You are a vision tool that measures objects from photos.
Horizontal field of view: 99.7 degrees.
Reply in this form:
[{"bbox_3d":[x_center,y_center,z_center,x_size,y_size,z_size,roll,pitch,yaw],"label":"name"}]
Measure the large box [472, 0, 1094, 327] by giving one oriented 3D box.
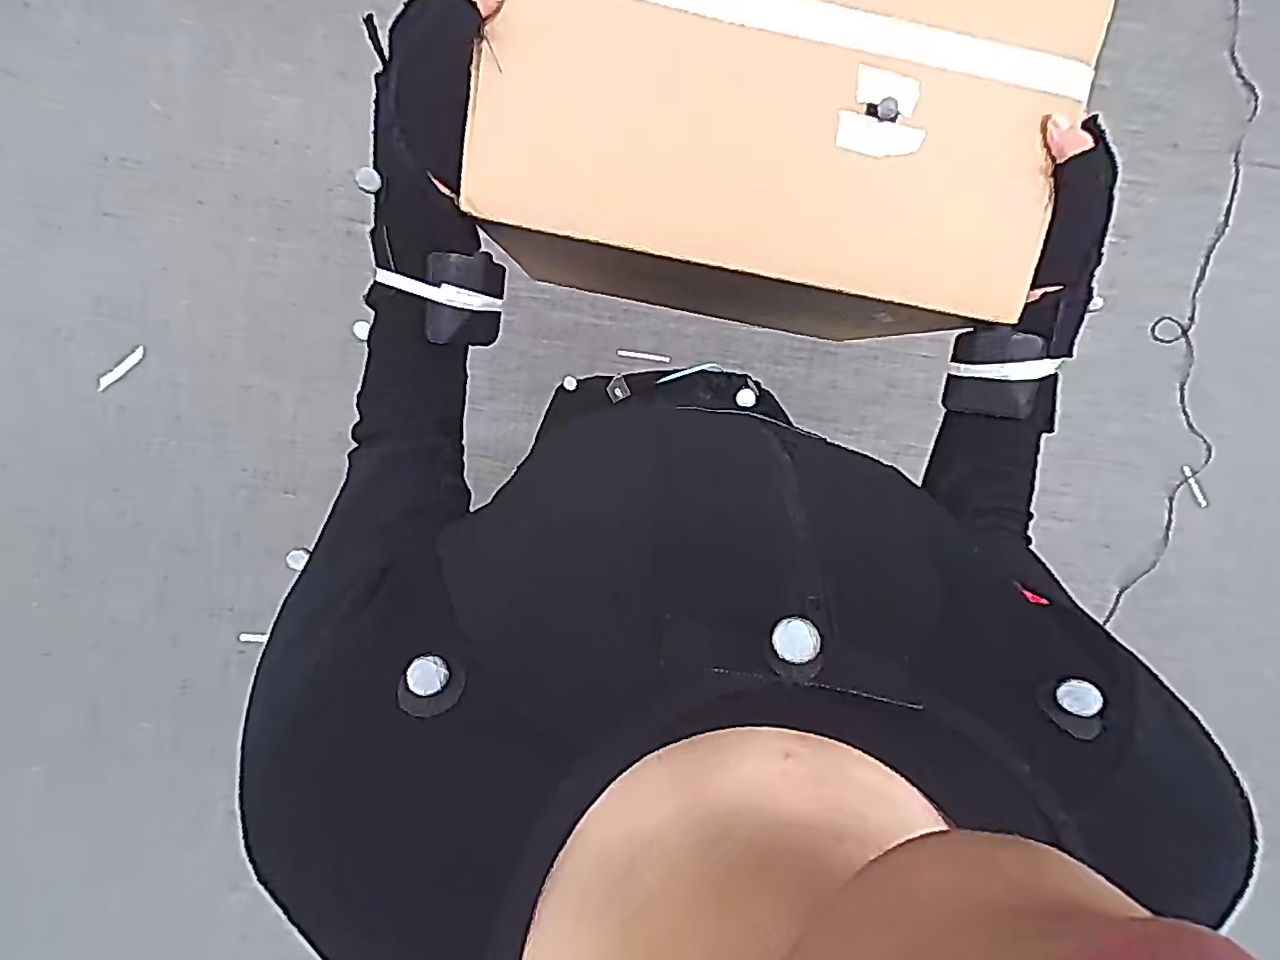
[{"bbox_3d":[0.091,-0.339,0.504,0.408,0.320,0.320,9,103,-5],"label":"large box"}]
